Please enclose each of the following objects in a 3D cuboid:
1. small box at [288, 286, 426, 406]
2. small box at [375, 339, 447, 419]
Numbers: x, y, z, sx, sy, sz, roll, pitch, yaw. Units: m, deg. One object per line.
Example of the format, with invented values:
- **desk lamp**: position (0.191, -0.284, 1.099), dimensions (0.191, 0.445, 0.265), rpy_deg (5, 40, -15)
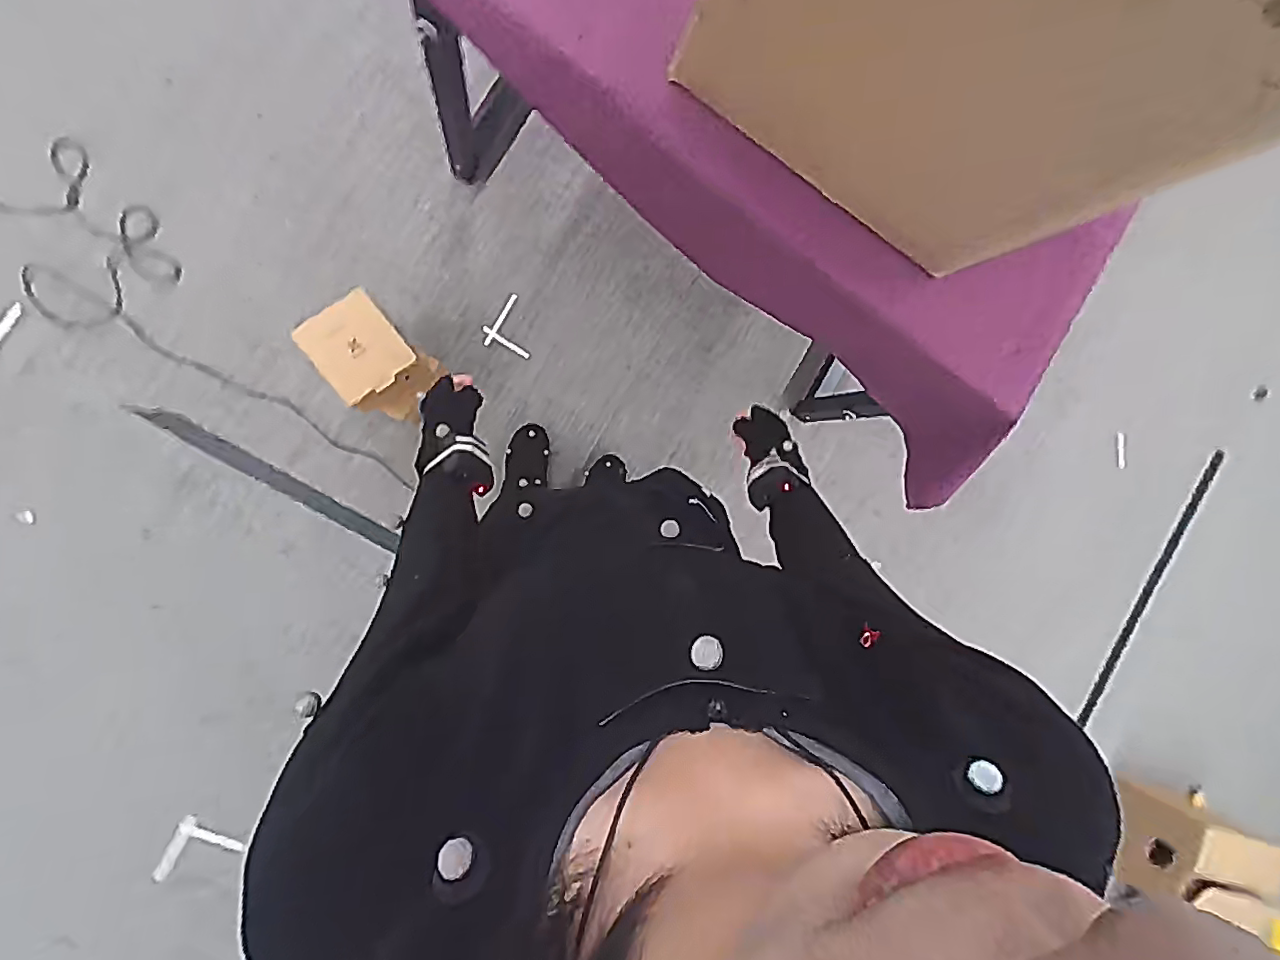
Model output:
- **small box**: position (-0.575, -0.269, 1.131), dimensions (0.168, 0.176, 0.179), rpy_deg (-38, 100, -9)
- **small box**: position (-0.590, -0.257, 1.295), dimensions (0.179, 0.176, 0.168), rpy_deg (34, 86, -13)
